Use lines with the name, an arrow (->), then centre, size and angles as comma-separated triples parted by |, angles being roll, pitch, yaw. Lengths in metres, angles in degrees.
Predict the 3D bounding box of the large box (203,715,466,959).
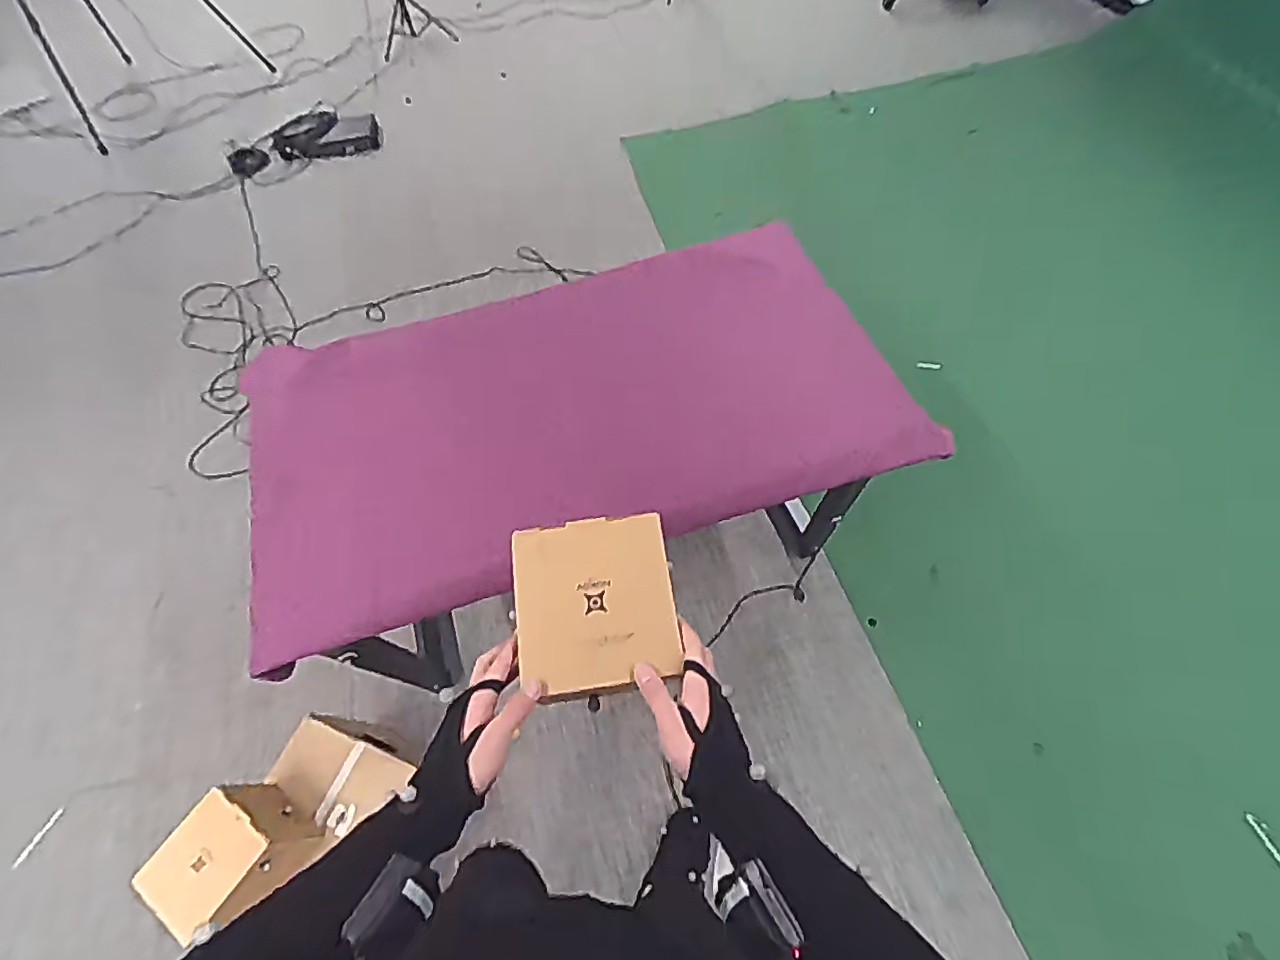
large box -> -0.662, 0.804, 1.216 | 0.320, 0.320, 0.408 | 18, 63, 11

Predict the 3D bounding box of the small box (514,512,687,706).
small box -> -0.048, 0.155, 0.627 | 0.168, 0.176, 0.179 | -7, 66, -5

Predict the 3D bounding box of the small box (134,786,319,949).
small box -> -0.749, 0.700, 0.999 | 0.168, 0.176, 0.179 | 28, 66, 19
